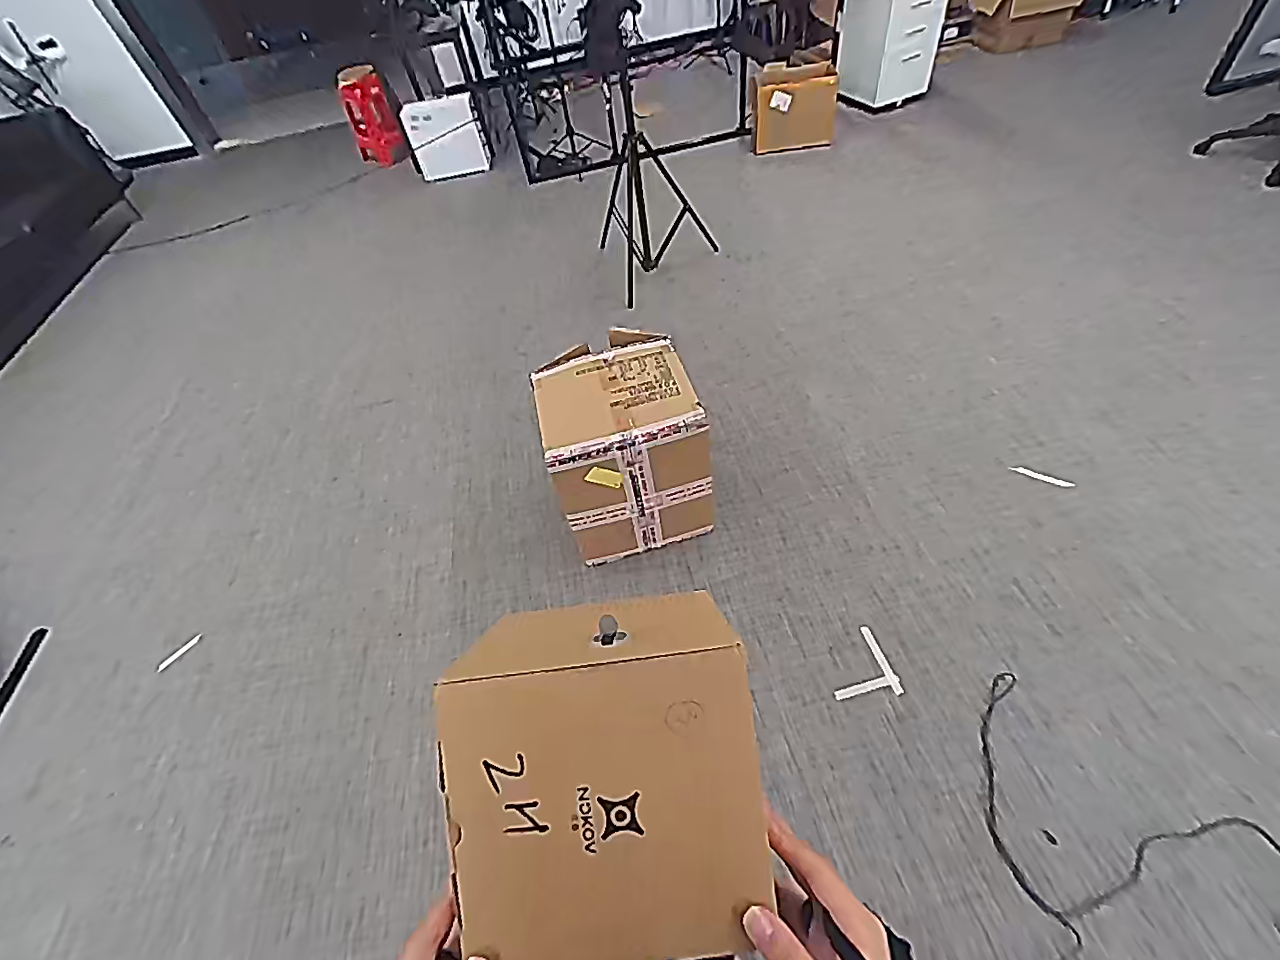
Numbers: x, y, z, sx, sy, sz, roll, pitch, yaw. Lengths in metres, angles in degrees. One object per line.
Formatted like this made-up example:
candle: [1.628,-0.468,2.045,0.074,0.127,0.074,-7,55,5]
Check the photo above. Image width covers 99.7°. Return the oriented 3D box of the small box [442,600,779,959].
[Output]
small box: [-0.018,0.188,0.381,0.179,0.176,0.168,-7,88,0]
